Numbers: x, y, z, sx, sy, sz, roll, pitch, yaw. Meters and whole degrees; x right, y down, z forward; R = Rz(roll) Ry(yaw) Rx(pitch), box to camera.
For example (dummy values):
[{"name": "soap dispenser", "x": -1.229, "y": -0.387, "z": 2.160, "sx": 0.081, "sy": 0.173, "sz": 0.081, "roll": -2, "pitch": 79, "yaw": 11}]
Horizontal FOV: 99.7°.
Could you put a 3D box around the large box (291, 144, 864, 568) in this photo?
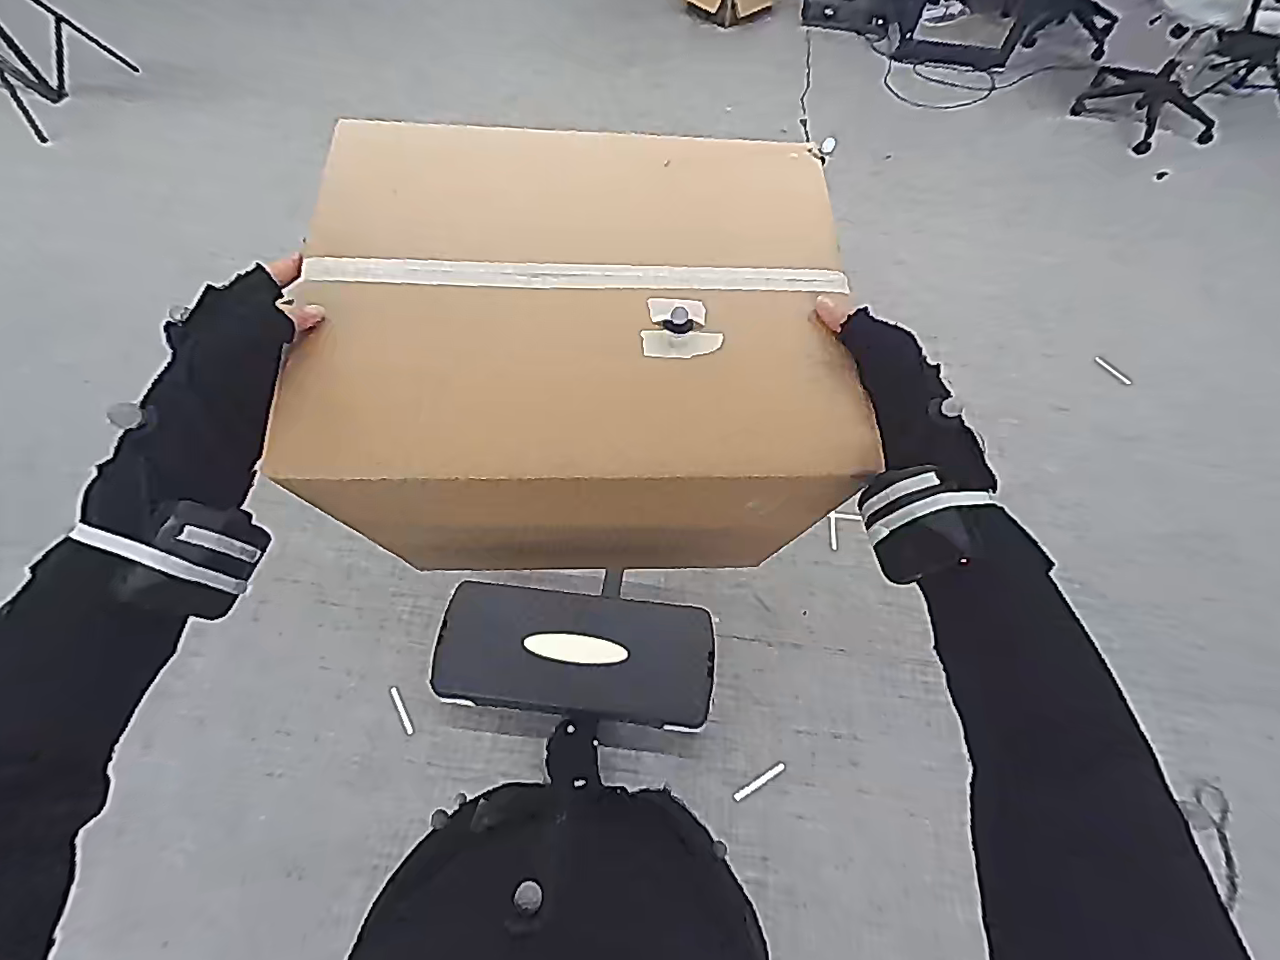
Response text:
[{"name": "large box", "x": -0.053, "y": -0.095, "z": 0.562, "sx": 0.408, "sy": 0.320, "sz": 0.320, "roll": 0, "pitch": 70, "yaw": -5}]
